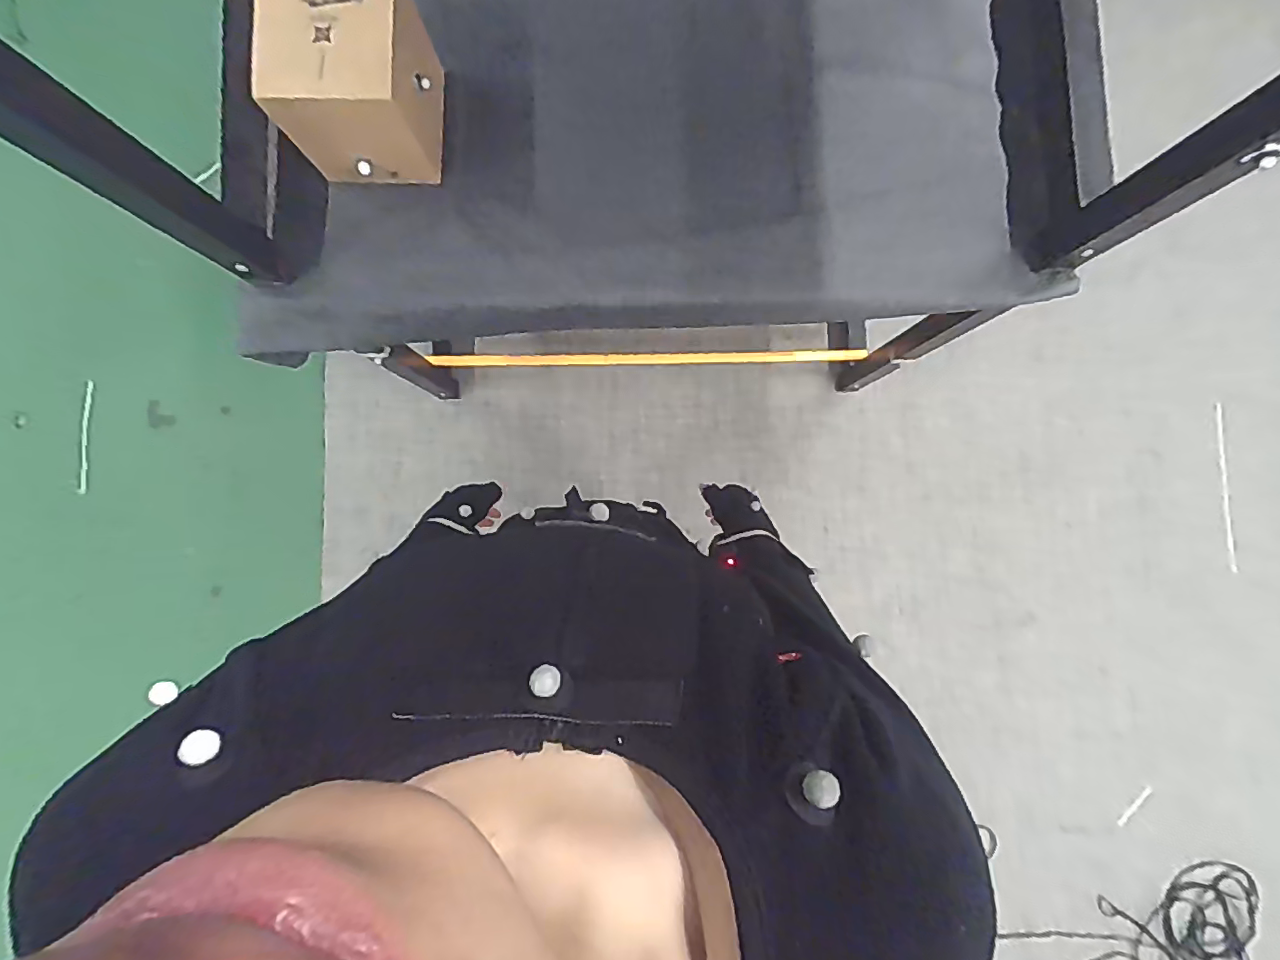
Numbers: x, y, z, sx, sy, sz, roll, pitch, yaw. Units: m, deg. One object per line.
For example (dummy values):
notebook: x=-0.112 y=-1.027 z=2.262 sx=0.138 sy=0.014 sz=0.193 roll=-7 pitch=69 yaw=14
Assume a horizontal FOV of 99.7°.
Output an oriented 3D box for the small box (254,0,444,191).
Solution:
small box: x=-0.372 y=-0.520 z=0.720 sx=0.168 sy=0.176 sz=0.179 roll=0 pitch=87 yaw=-1
